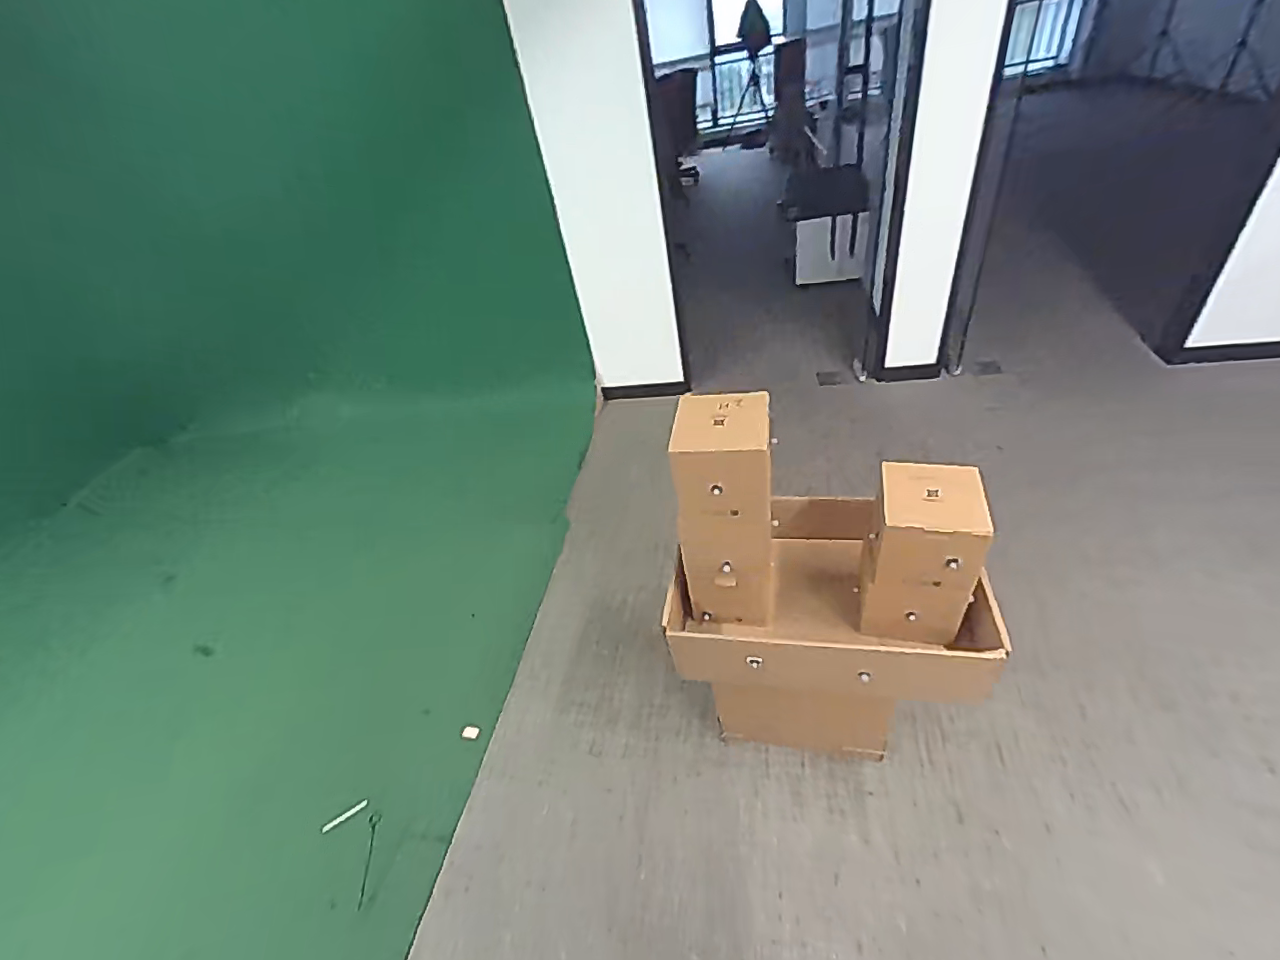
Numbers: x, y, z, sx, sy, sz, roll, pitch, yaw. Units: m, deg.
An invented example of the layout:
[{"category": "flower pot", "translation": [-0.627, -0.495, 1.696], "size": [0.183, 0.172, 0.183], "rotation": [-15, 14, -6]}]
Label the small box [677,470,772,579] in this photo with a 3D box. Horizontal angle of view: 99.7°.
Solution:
[{"category": "small box", "translation": [0.180, 0.088, 1.109], "size": [0.179, 0.176, 0.168], "rotation": [-1, 40, 14]}]

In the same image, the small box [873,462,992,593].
[{"category": "small box", "translation": [0.533, 0.088, 1.008], "size": [0.168, 0.176, 0.179], "rotation": [4, 41, 19]}]

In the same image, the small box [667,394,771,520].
[{"category": "small box", "translation": [0.155, -0.039, 1.006], "size": [0.168, 0.176, 0.179], "rotation": [-1, 41, 15]}]
